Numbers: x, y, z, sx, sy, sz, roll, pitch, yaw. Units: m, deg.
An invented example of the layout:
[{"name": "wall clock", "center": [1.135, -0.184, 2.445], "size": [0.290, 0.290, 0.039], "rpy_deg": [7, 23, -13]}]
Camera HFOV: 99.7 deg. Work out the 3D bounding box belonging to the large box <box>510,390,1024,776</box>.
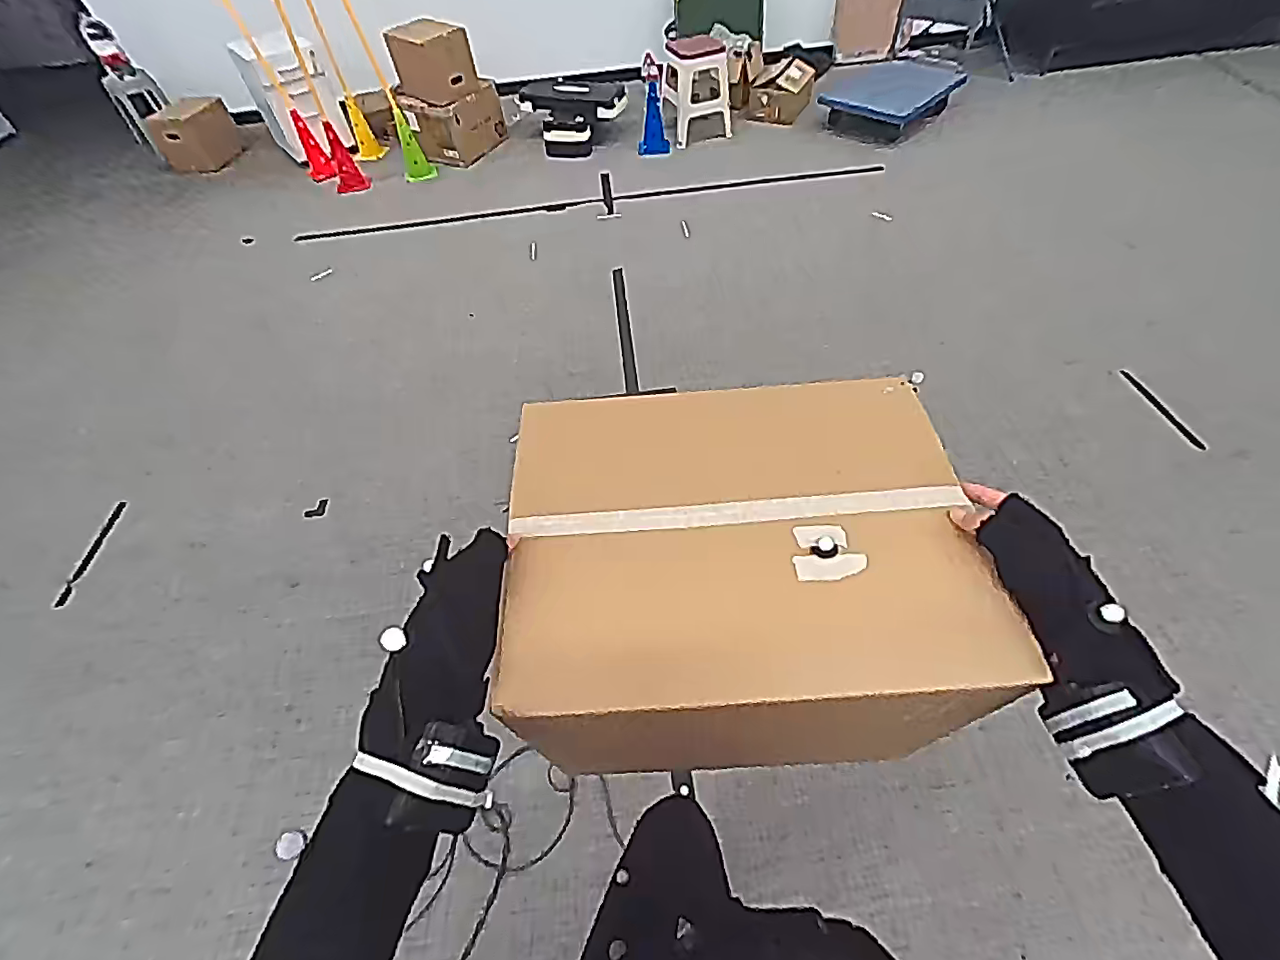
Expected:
[{"name": "large box", "center": [0.094, 0.128, 0.616], "size": [0.408, 0.320, 0.320], "rpy_deg": [-4, 54, 1]}]
